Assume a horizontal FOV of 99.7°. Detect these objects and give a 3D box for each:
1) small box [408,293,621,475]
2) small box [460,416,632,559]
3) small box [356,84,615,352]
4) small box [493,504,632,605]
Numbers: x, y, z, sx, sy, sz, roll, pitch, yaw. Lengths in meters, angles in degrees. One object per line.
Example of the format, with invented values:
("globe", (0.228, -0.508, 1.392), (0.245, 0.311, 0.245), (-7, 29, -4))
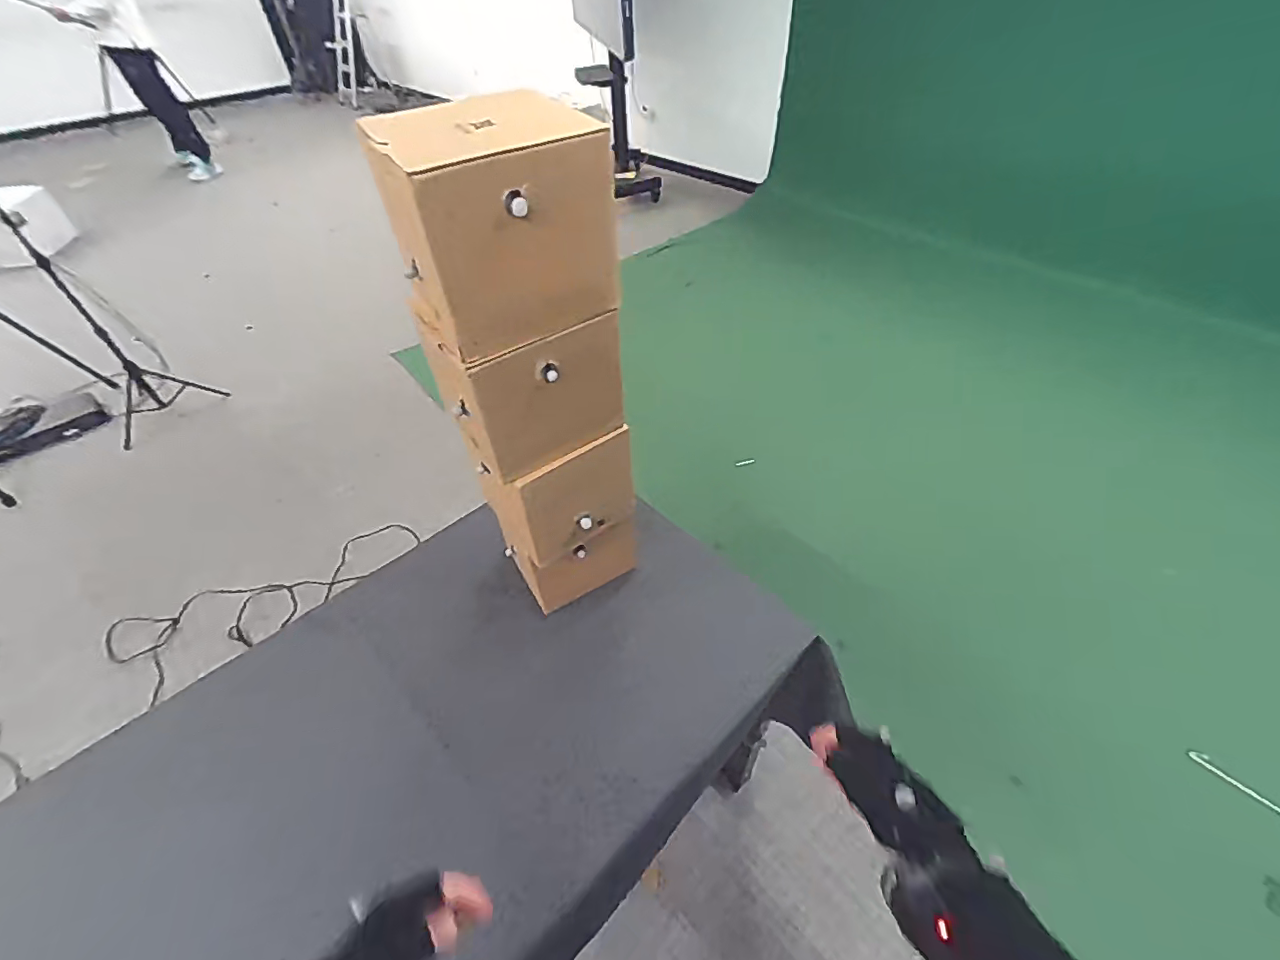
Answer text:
("small box", (-0.137, -0.136, 0.636), (0.179, 0.176, 0.168), (-28, 53, -22))
("small box", (-0.126, -0.025, 0.755), (0.168, 0.176, 0.179), (-31, 53, -23))
("small box", (-0.136, -0.252, 0.523), (0.179, 0.176, 0.168), (-27, 52, -19))
("small box", (-0.125, 0.074, 0.887), (0.179, 0.176, 0.168), (-25, 51, -20))
